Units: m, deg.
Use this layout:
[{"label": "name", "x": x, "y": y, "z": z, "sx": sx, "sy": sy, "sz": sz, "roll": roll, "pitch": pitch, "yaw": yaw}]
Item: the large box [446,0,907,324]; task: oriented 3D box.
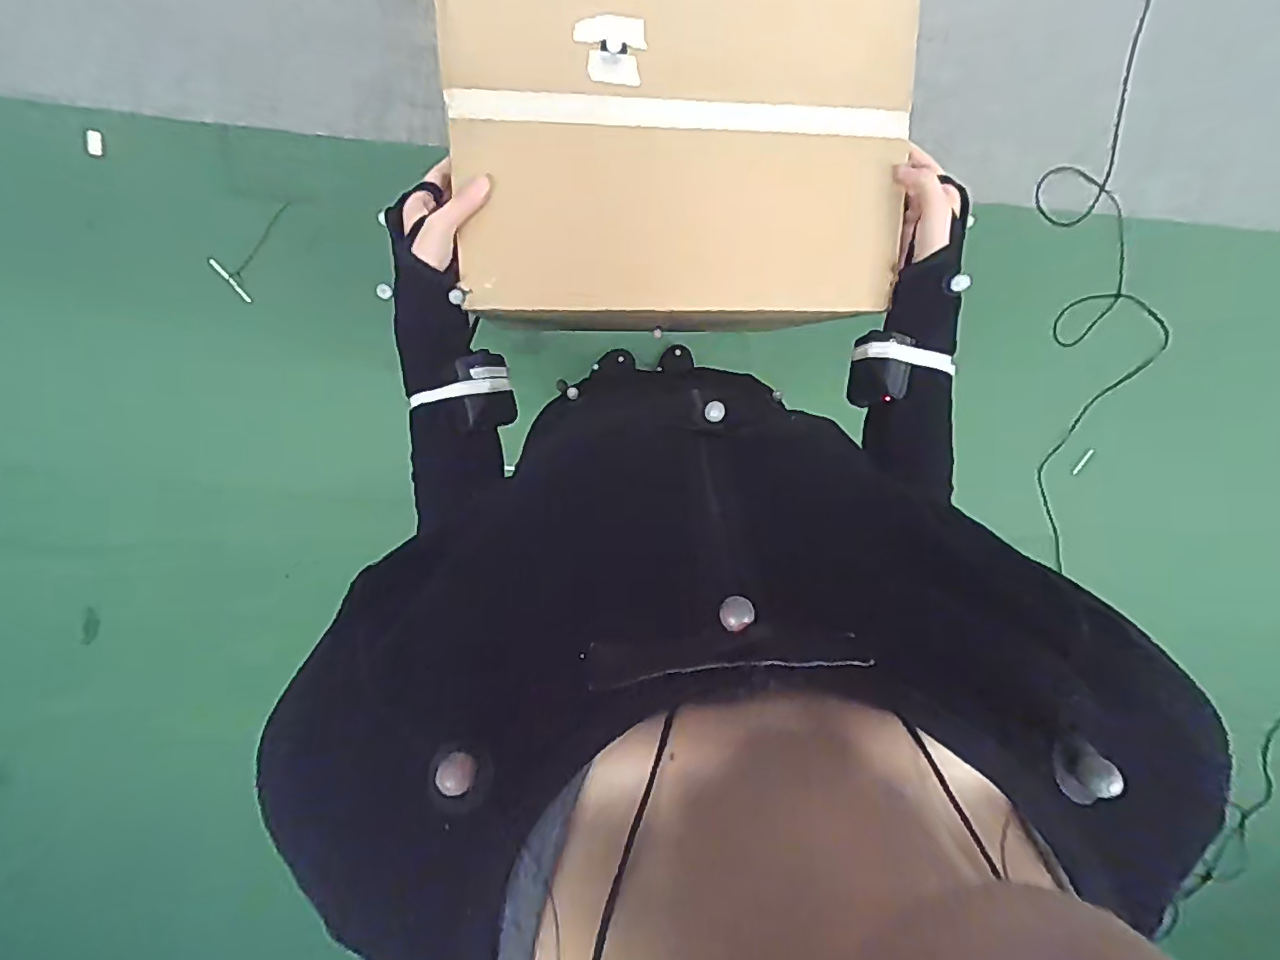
[{"label": "large box", "x": 0.023, "y": -0.347, "z": 0.622, "sx": 0.408, "sy": 0.320, "sz": 0.320, "roll": -2, "pitch": 102, "yaw": -7}]
